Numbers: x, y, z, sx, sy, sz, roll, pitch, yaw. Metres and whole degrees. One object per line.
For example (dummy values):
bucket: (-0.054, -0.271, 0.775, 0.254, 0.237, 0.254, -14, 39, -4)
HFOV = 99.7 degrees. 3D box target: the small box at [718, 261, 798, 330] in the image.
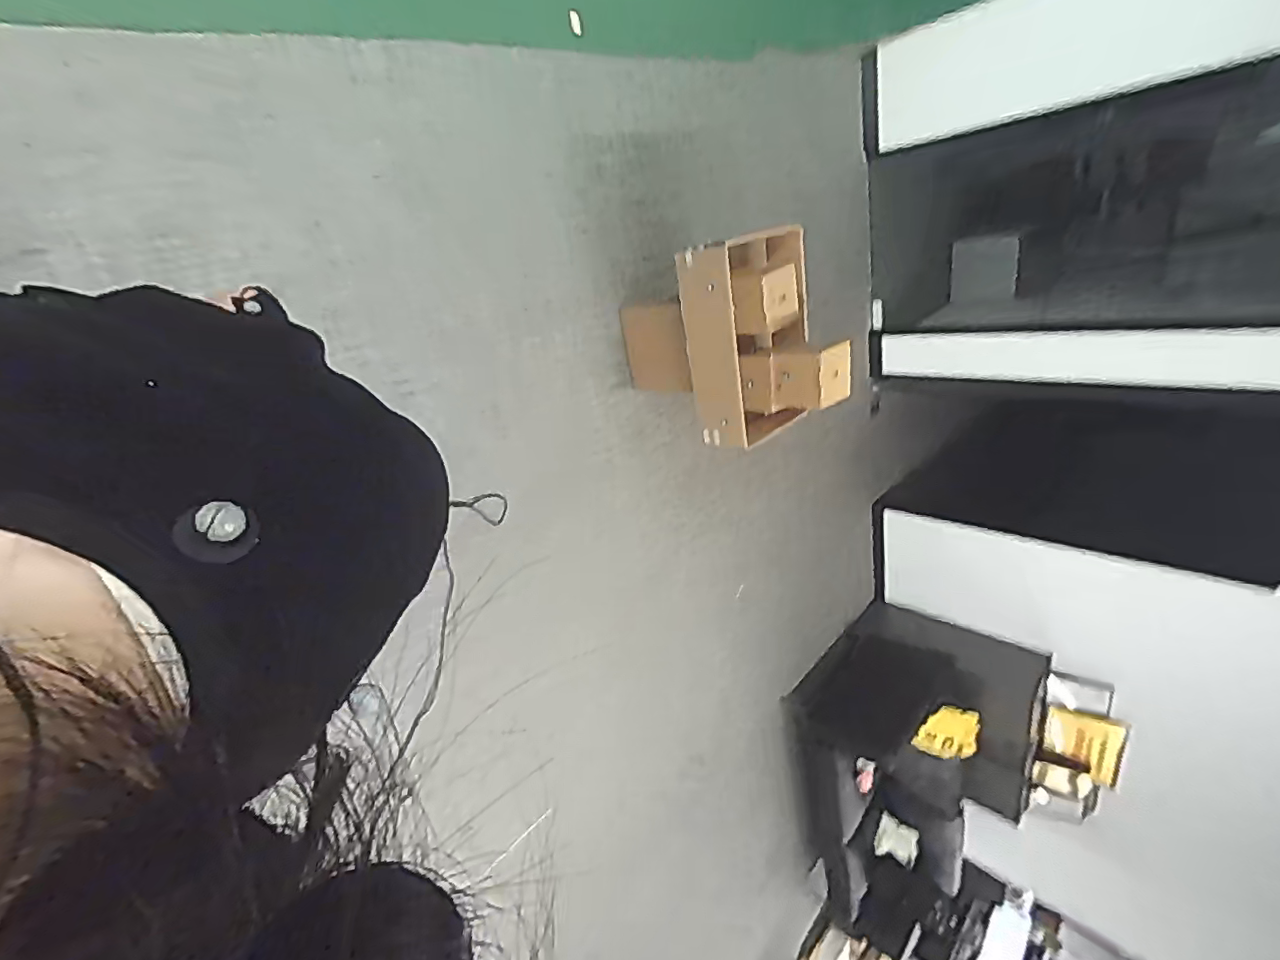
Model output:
small box: (0.364, -0.568, 1.667, 0.179, 0.176, 0.168, -33, 122, -33)

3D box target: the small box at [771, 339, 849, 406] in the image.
small box: (0.519, -0.333, 1.650, 0.179, 0.176, 0.168, -26, 117, -37)
